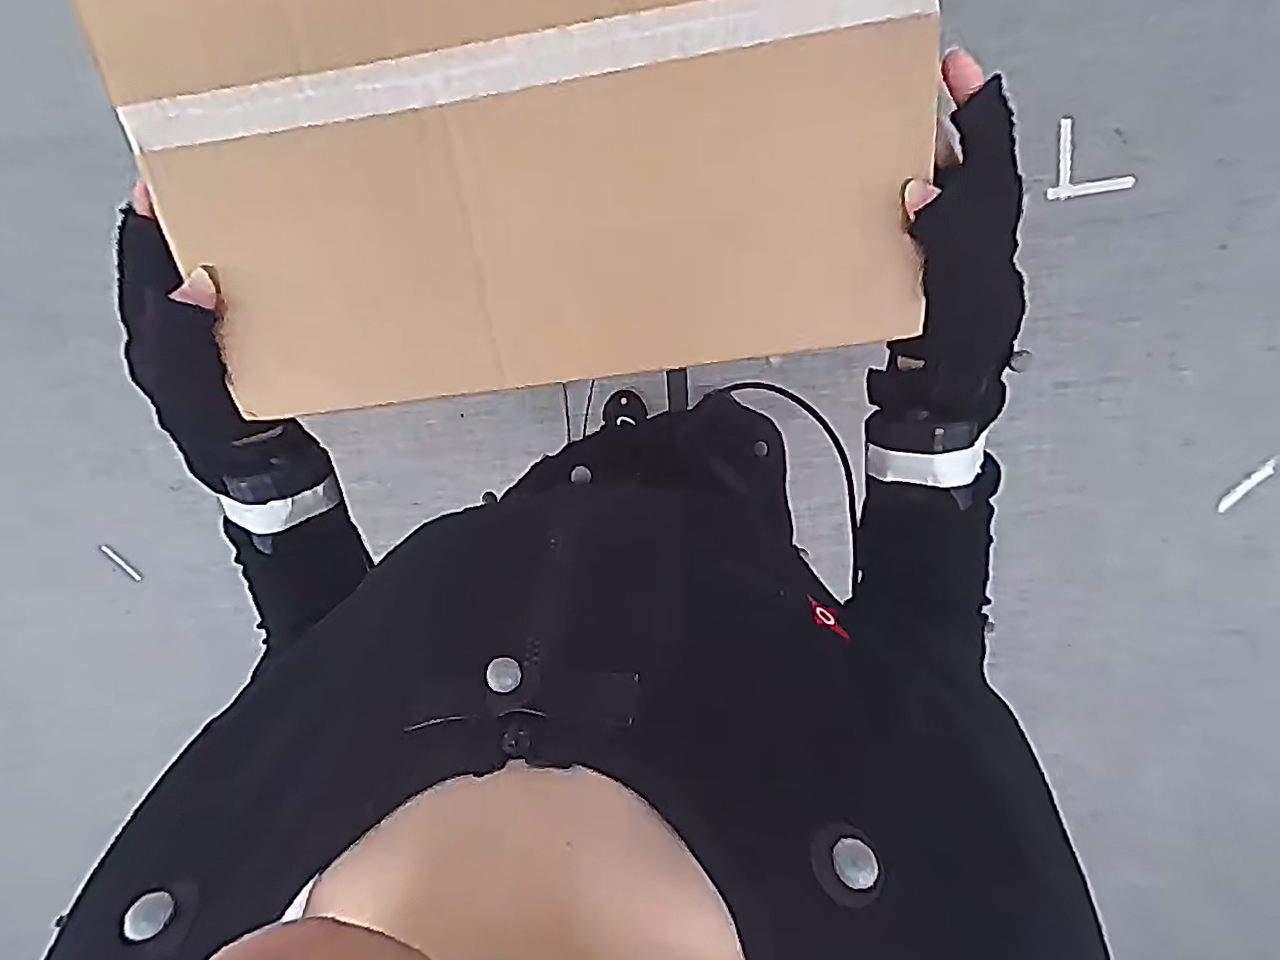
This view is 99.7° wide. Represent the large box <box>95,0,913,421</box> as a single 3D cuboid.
[{"bbox_3d":[-0.057,-0.257,0.413,0.408,0.320,0.320,-6,110,5],"label":"large box"}]
